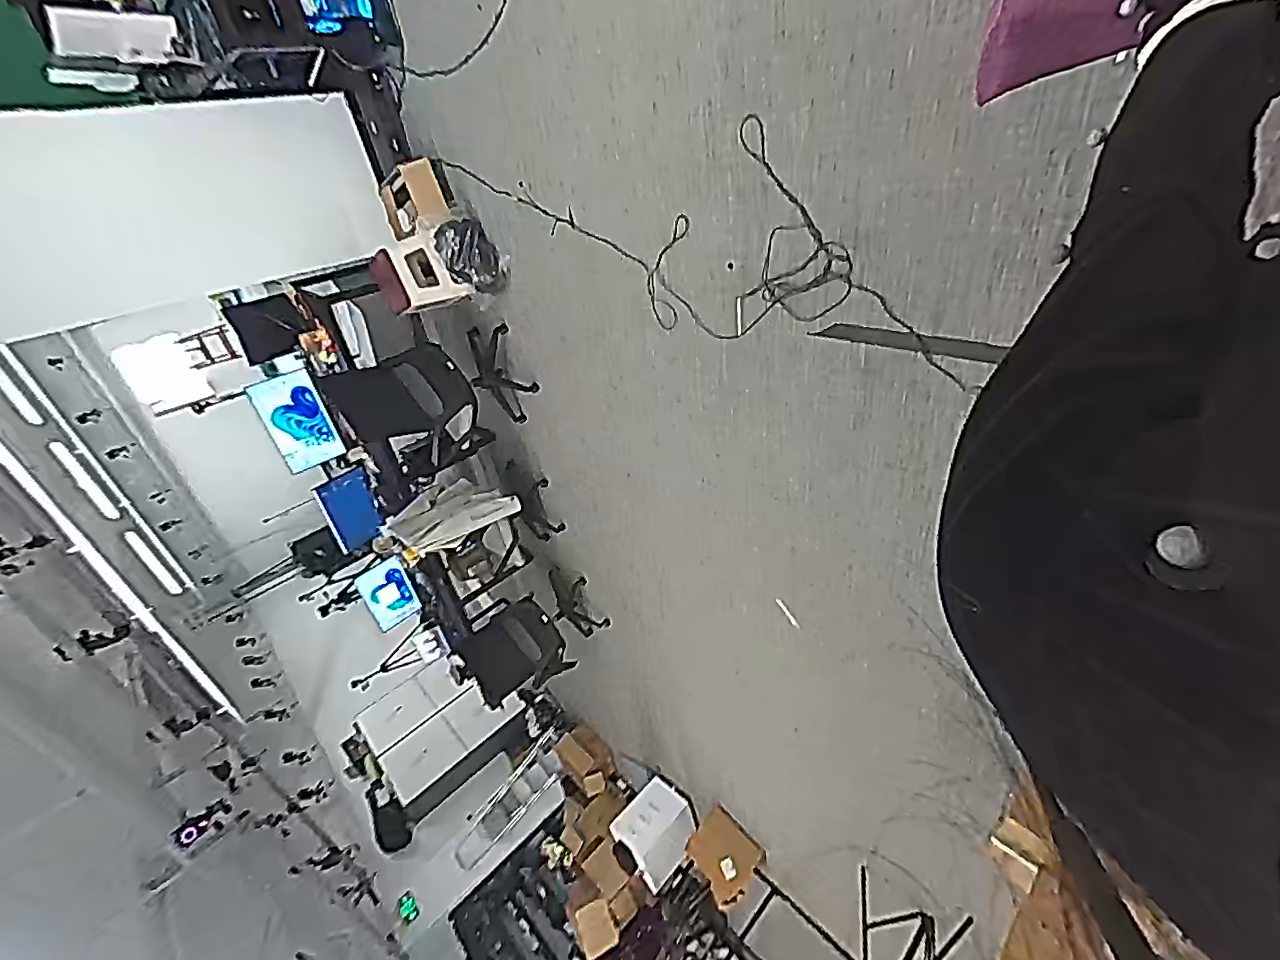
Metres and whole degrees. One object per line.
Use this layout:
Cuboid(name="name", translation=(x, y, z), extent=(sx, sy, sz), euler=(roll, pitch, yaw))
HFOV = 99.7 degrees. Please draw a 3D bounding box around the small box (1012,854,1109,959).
Cuboid(name="small box", translation=(1.181, 1.208, 1.518), extent=(0.168, 0.176, 0.179), euler=(22, 135, 44))
